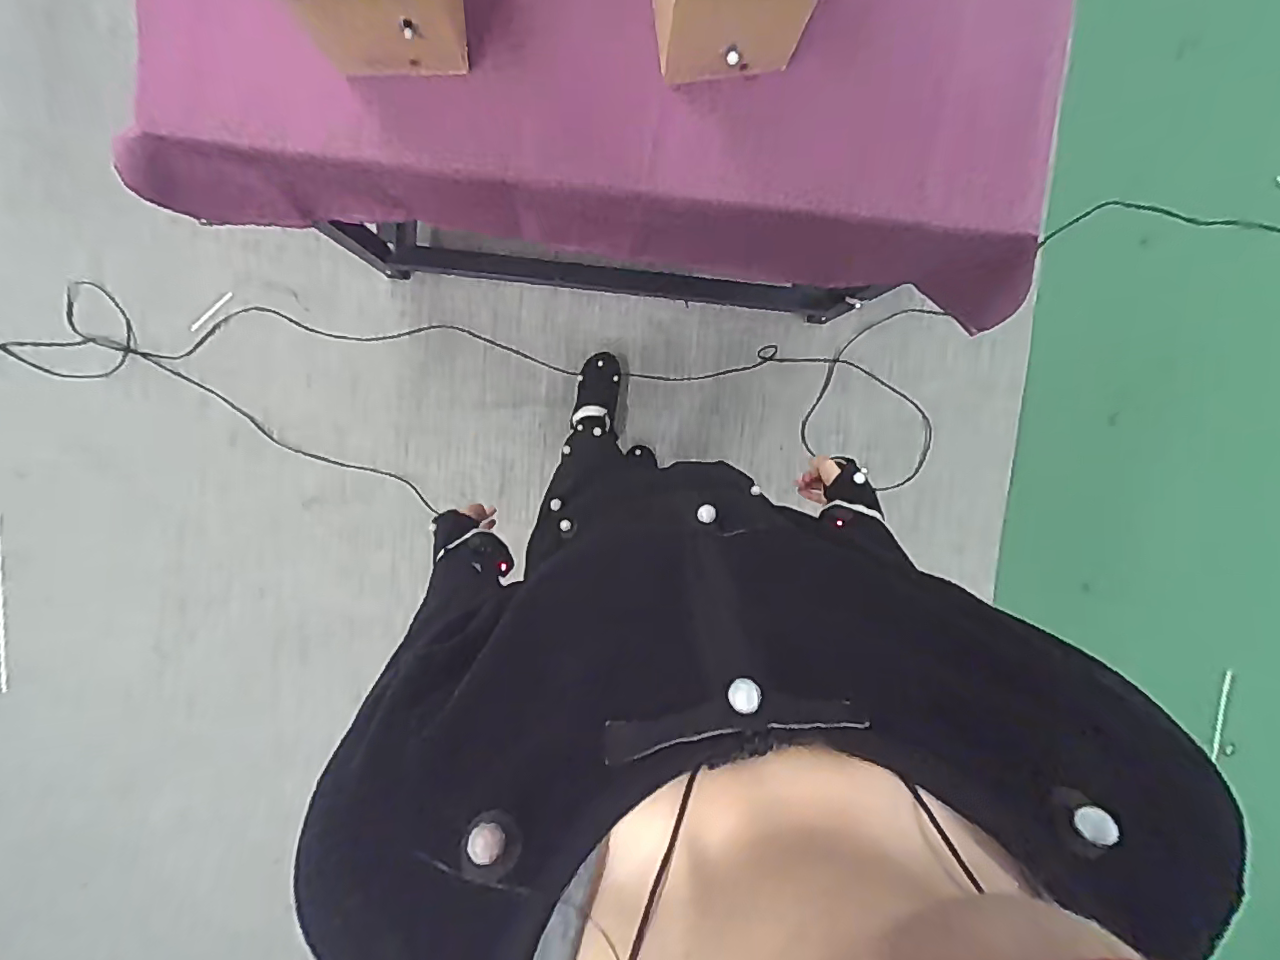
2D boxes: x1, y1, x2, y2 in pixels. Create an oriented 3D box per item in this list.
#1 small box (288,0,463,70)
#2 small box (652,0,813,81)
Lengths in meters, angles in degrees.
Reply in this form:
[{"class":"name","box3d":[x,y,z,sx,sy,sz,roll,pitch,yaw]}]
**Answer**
[{"class":"small box","box3d":[-0.305,-0.604,0.609,0.168,0.176,0.179,-2,95,-4]},{"class":"small box","box3d":[0.100,-0.611,0.627,0.168,0.176,0.179,-7,96,-2]}]
